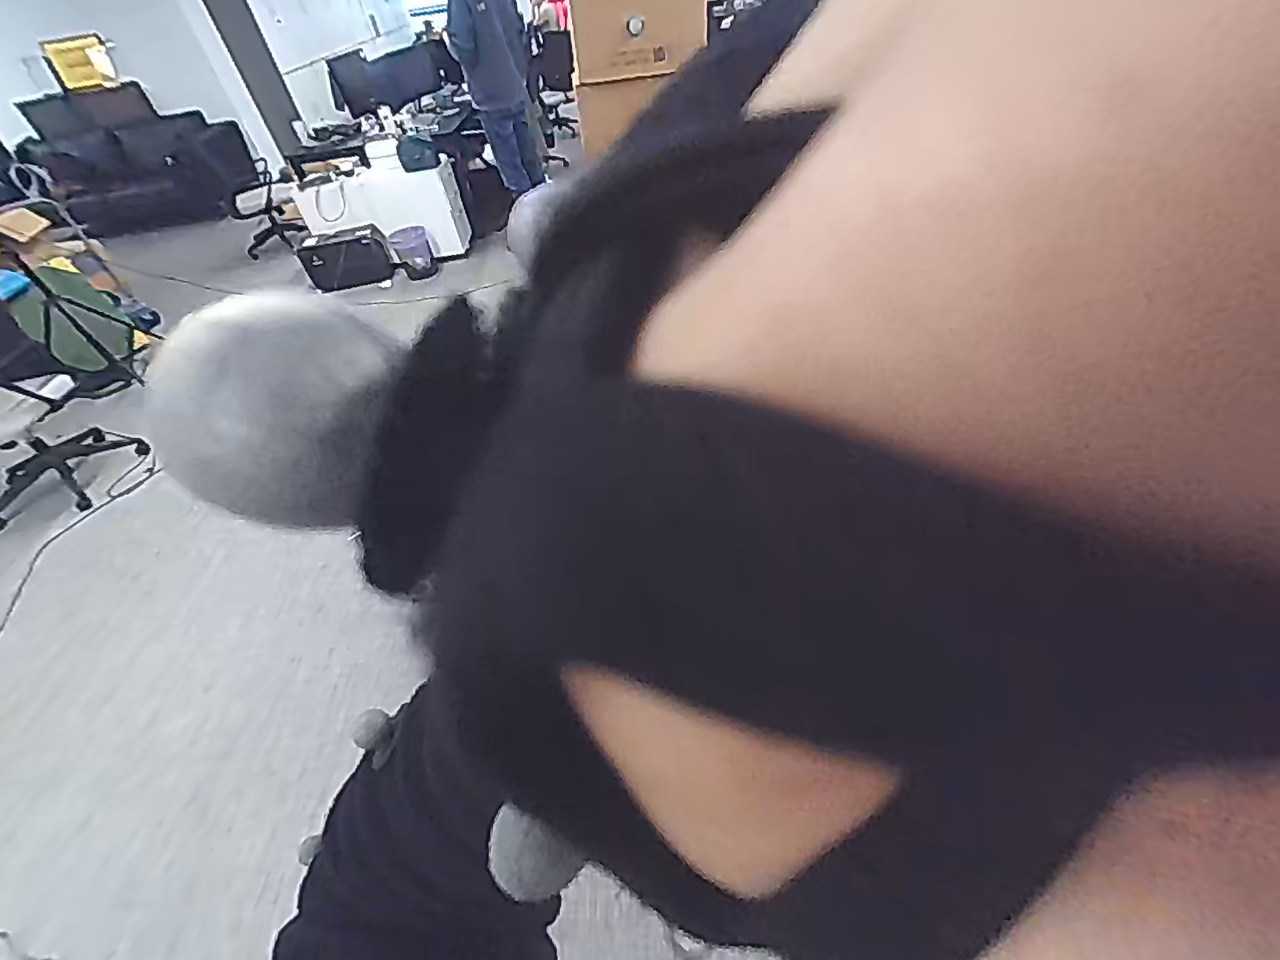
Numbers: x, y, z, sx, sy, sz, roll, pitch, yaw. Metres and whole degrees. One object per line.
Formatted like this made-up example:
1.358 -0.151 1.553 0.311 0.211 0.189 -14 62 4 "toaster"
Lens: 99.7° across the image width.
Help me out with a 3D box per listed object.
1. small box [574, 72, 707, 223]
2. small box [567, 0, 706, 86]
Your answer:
0.001 -0.507 0.814 0.179 0.176 0.168 -9 41 -1 "small box"
-0.011 -0.626 0.700 0.168 0.176 0.179 -8 42 -1 "small box"
